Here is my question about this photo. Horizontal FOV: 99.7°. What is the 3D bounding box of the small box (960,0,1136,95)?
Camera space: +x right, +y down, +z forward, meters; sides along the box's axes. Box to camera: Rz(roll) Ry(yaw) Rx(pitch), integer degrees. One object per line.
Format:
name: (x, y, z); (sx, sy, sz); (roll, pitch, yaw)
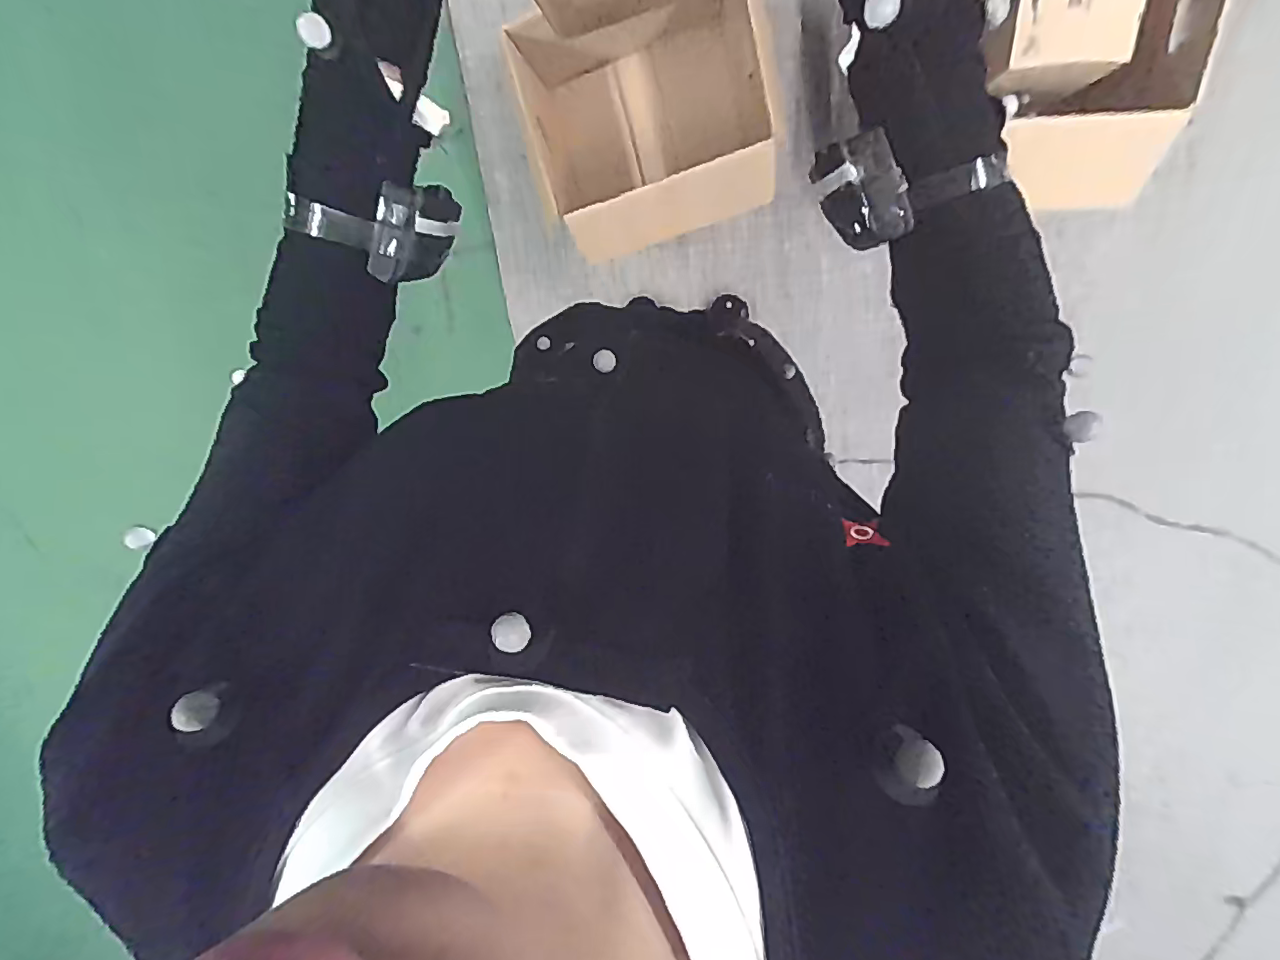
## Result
small box: (0.663, -0.758, 0.885); (0.179, 0.176, 0.168); (0, 109, 7)
